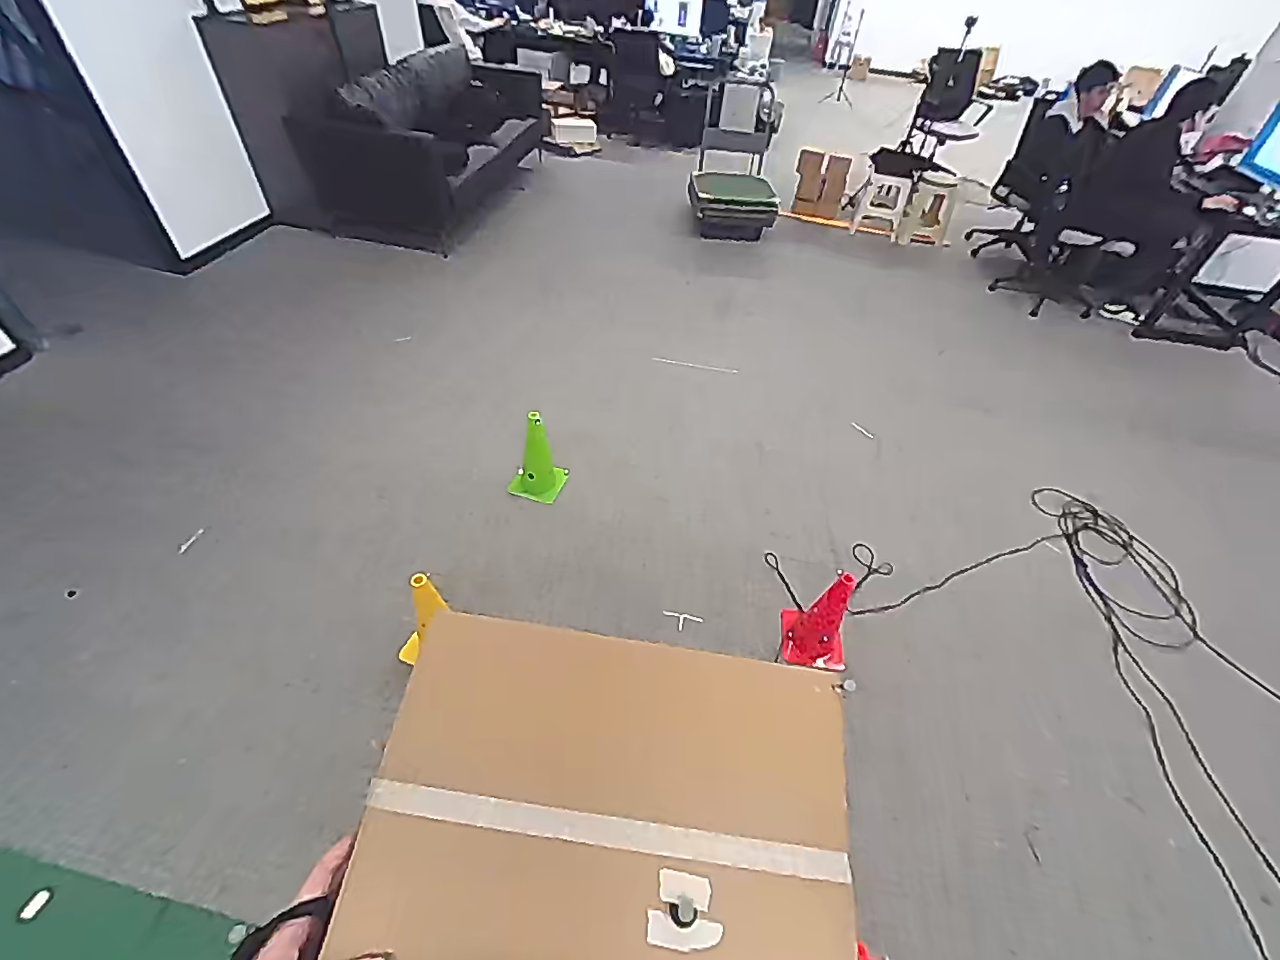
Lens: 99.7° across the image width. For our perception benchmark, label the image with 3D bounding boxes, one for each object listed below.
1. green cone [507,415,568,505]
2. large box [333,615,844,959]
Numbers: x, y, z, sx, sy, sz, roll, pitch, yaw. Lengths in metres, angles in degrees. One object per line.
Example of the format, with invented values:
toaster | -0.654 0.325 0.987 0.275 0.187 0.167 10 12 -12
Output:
green cone | -0.409 -0.107 2.098 0.200 0.368 0.202 15 47 9
large box | -0.035 0.367 0.596 0.408 0.320 0.320 9 61 0
